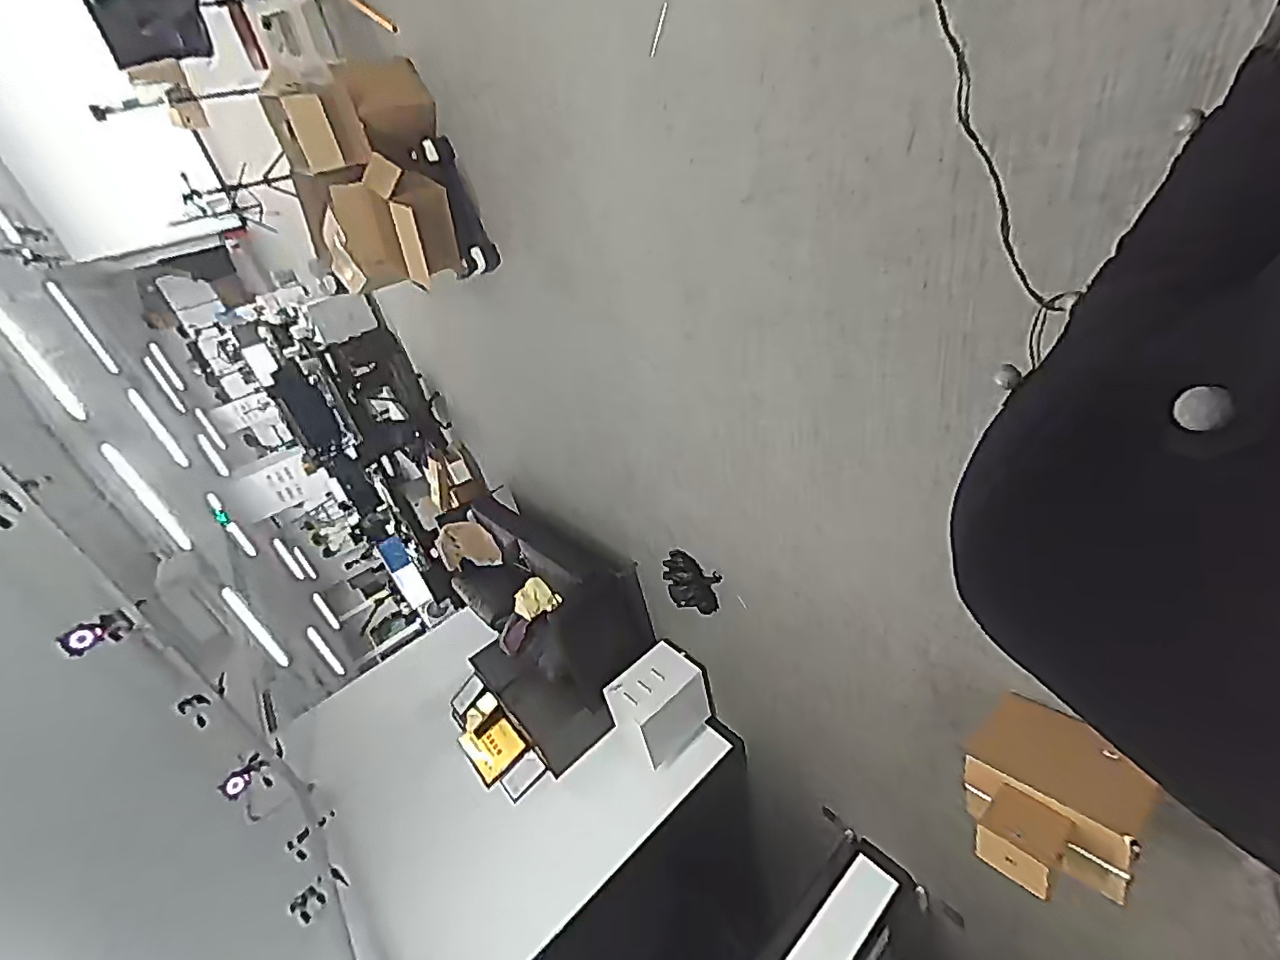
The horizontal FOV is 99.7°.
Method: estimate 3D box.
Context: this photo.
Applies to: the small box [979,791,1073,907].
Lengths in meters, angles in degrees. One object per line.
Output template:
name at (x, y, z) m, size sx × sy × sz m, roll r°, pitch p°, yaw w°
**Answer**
small box at (1.095, 1.037, 1.534) m, size 0.179 × 0.176 × 0.168 m, roll 19°, pitch 132°, yaw 51°
